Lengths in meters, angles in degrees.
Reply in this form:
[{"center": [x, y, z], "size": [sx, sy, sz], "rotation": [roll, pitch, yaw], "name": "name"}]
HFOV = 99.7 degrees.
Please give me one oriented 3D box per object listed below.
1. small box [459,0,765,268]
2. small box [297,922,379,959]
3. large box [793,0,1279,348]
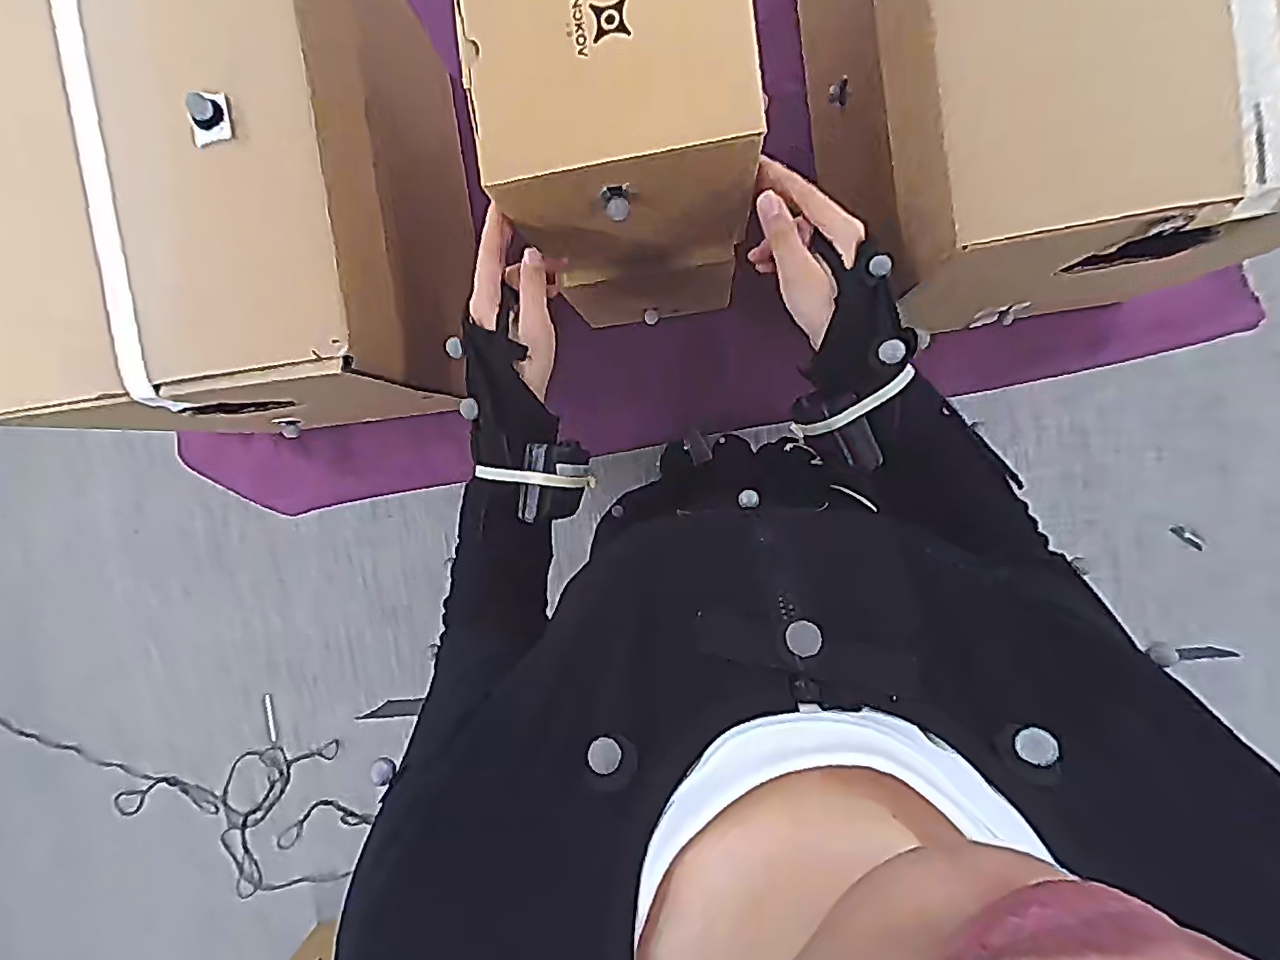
[{"center": [-0.012, -0.275, 0.399], "size": [0.179, 0.176, 0.168], "rotation": [-7, 93, 8], "name": "small box"}, {"center": [-0.853, 1.378, 1.507], "size": [0.179, 0.176, 0.168], "rotation": [-9, 93, 8], "name": "small box"}, {"center": [0.327, -0.360, 0.450], "size": [0.320, 0.320, 0.408], "rotation": [-8, 91, 7], "name": "large box"}]
